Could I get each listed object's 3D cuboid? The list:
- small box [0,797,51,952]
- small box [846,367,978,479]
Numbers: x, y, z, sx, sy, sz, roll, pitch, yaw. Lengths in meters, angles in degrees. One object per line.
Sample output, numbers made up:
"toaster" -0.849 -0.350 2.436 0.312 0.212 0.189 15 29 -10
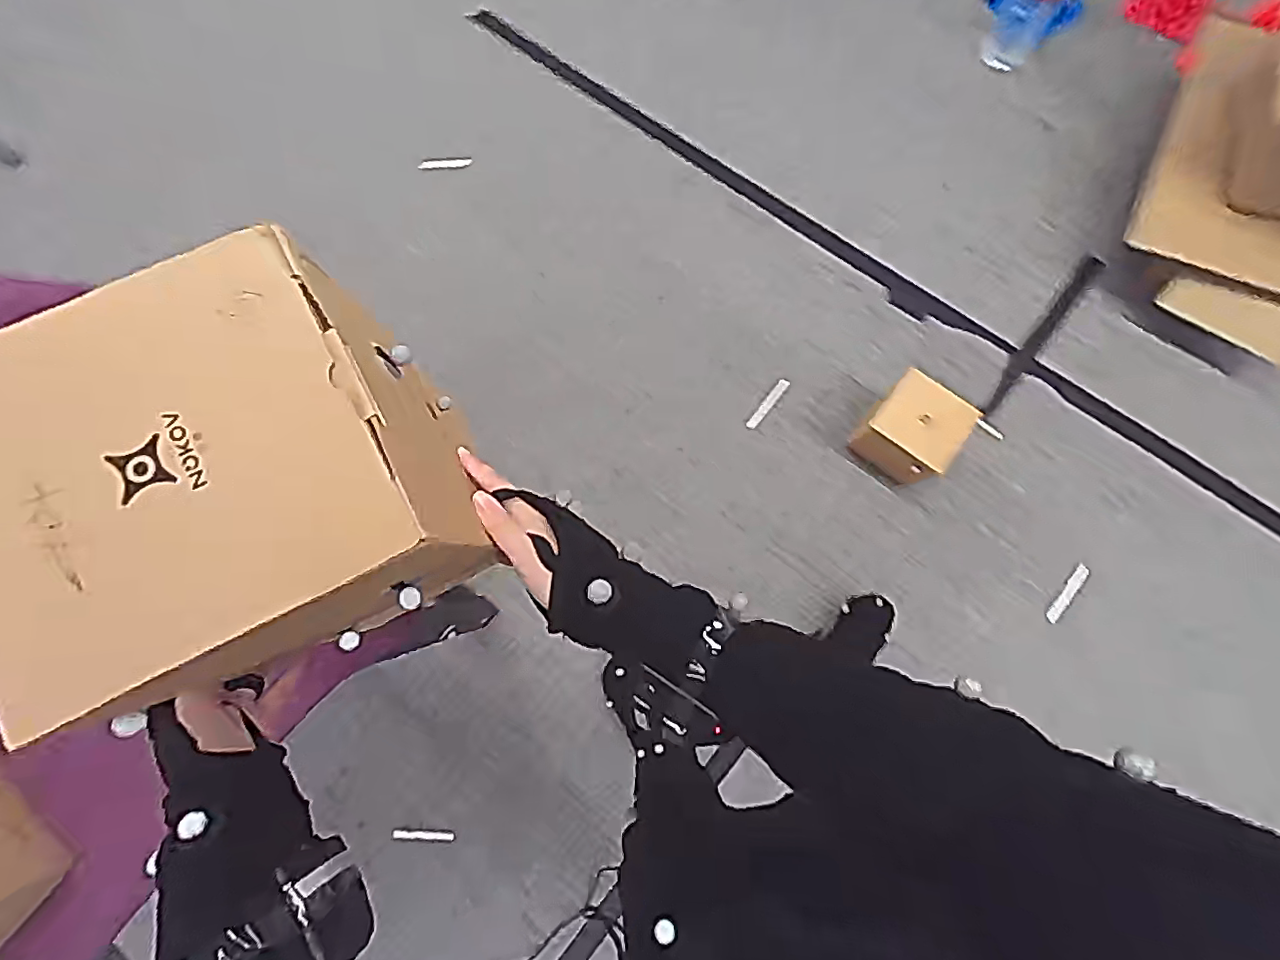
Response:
"small box" -0.668 0.381 0.448 0.168 0.176 0.179 39 84 7
"small box" 0.598 -0.118 1.216 0.179 0.176 0.168 36 84 6
